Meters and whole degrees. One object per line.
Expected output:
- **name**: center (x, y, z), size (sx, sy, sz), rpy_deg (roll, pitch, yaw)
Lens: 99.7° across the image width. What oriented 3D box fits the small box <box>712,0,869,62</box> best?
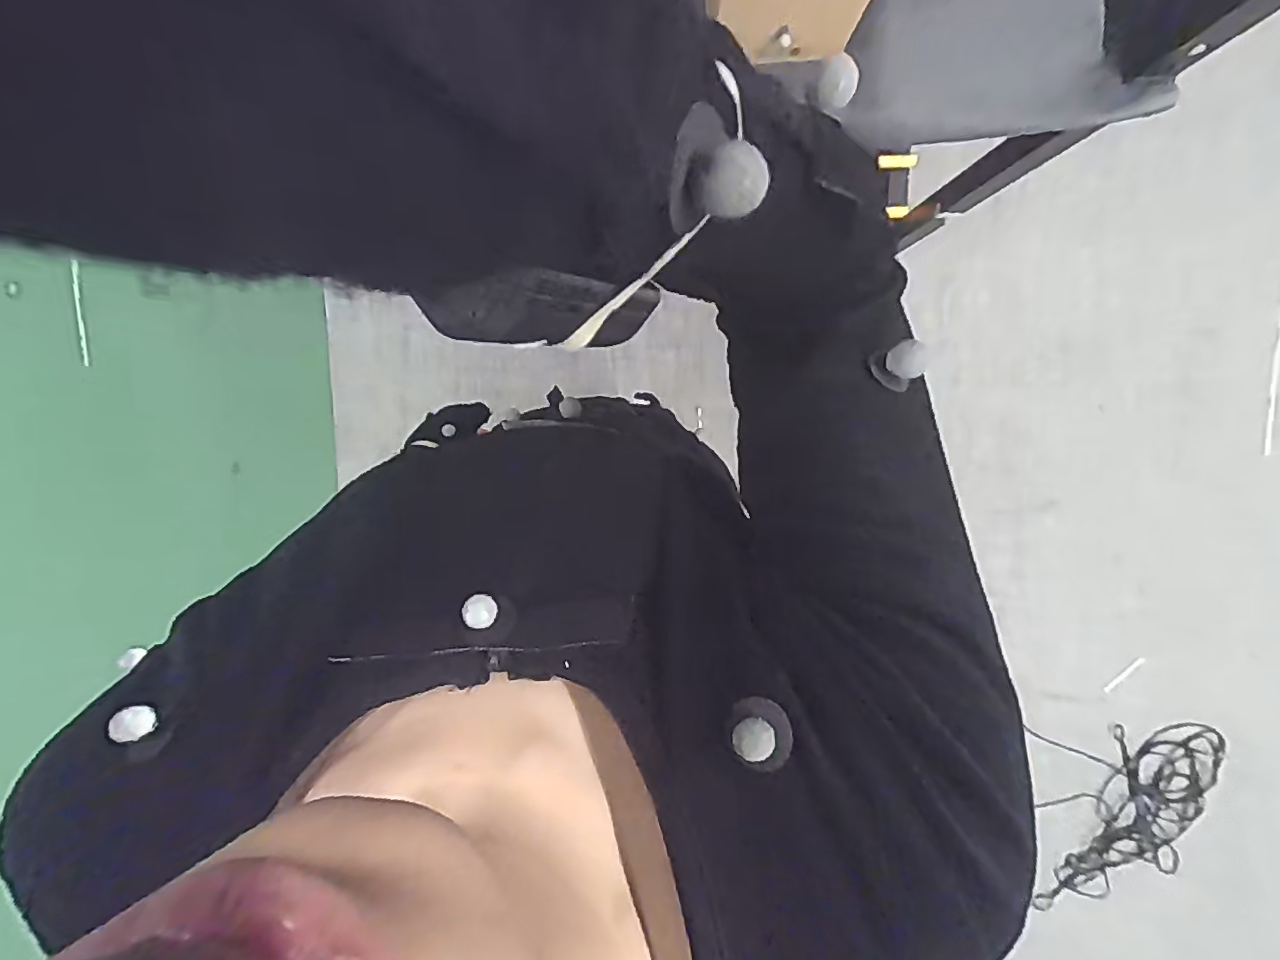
- **small box**: center (0.167, -0.605, 0.588), size (0.168, 0.176, 0.179), rpy_deg (-3, 96, 1)
